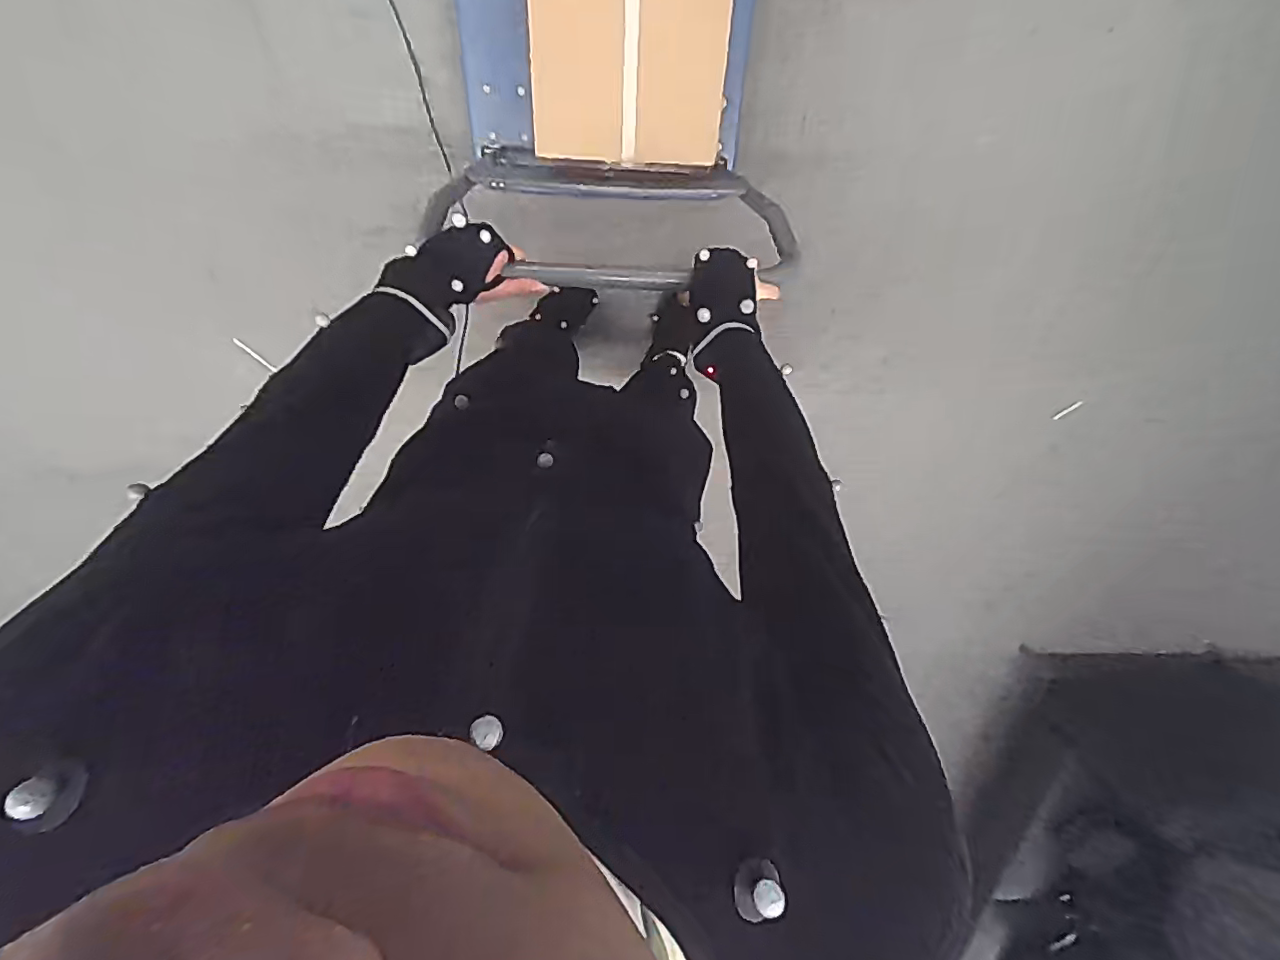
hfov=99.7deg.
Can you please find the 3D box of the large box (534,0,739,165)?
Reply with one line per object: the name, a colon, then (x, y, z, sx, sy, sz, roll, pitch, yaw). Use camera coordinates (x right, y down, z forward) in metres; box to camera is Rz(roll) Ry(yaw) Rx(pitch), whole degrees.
large box: (-0.012, -0.787, 0.943, 0.320, 0.320, 0.408, 0, 122, -5)
